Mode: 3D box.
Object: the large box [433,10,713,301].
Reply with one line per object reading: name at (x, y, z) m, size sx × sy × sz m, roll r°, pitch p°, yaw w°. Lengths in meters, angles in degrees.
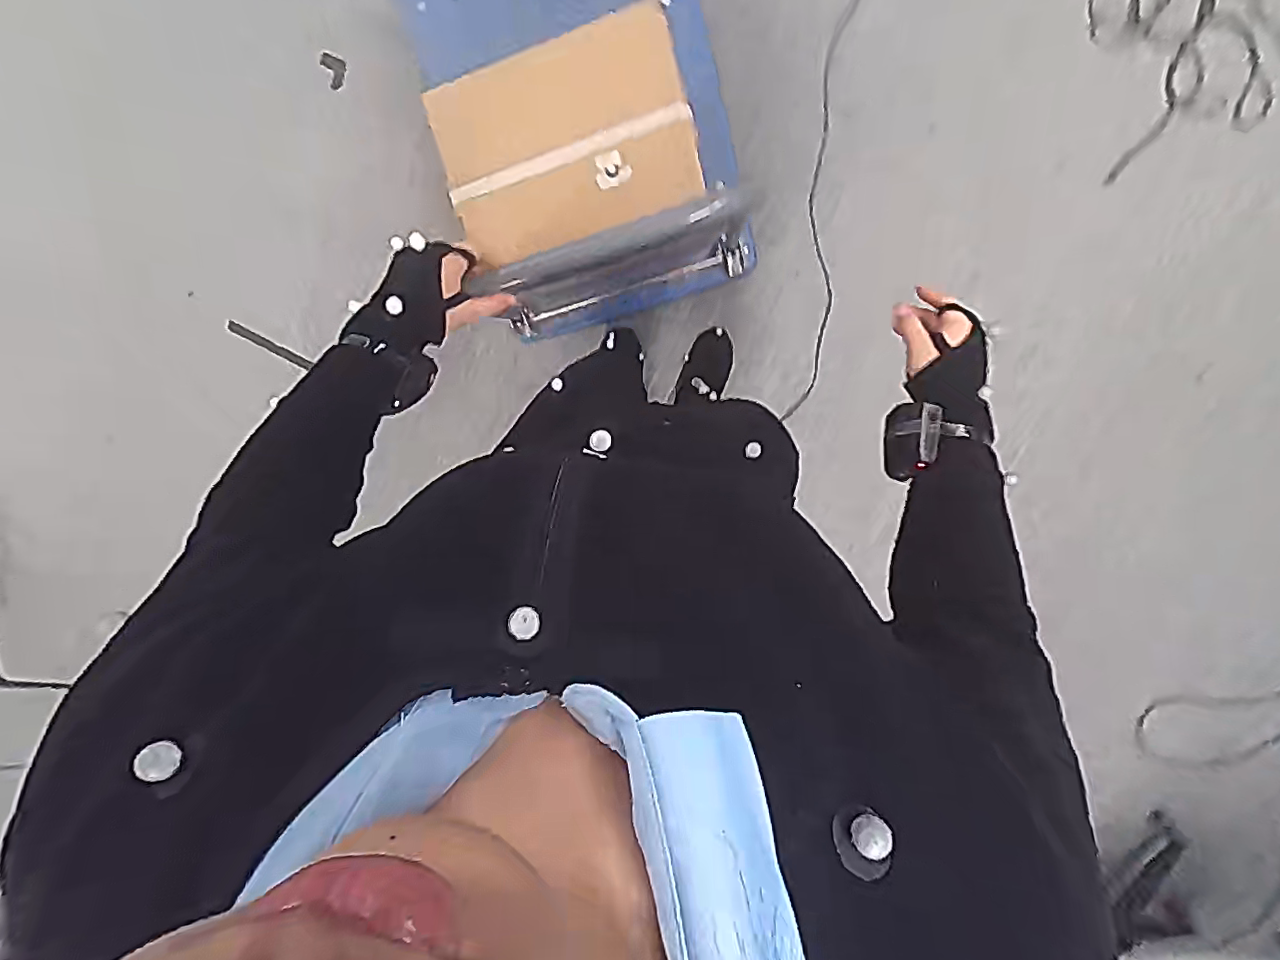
large box at (-0.097, -0.557, 1.023) m, size 0.408 × 0.320 × 0.320 m, roll -14°, pitch 105°, yaw 10°
